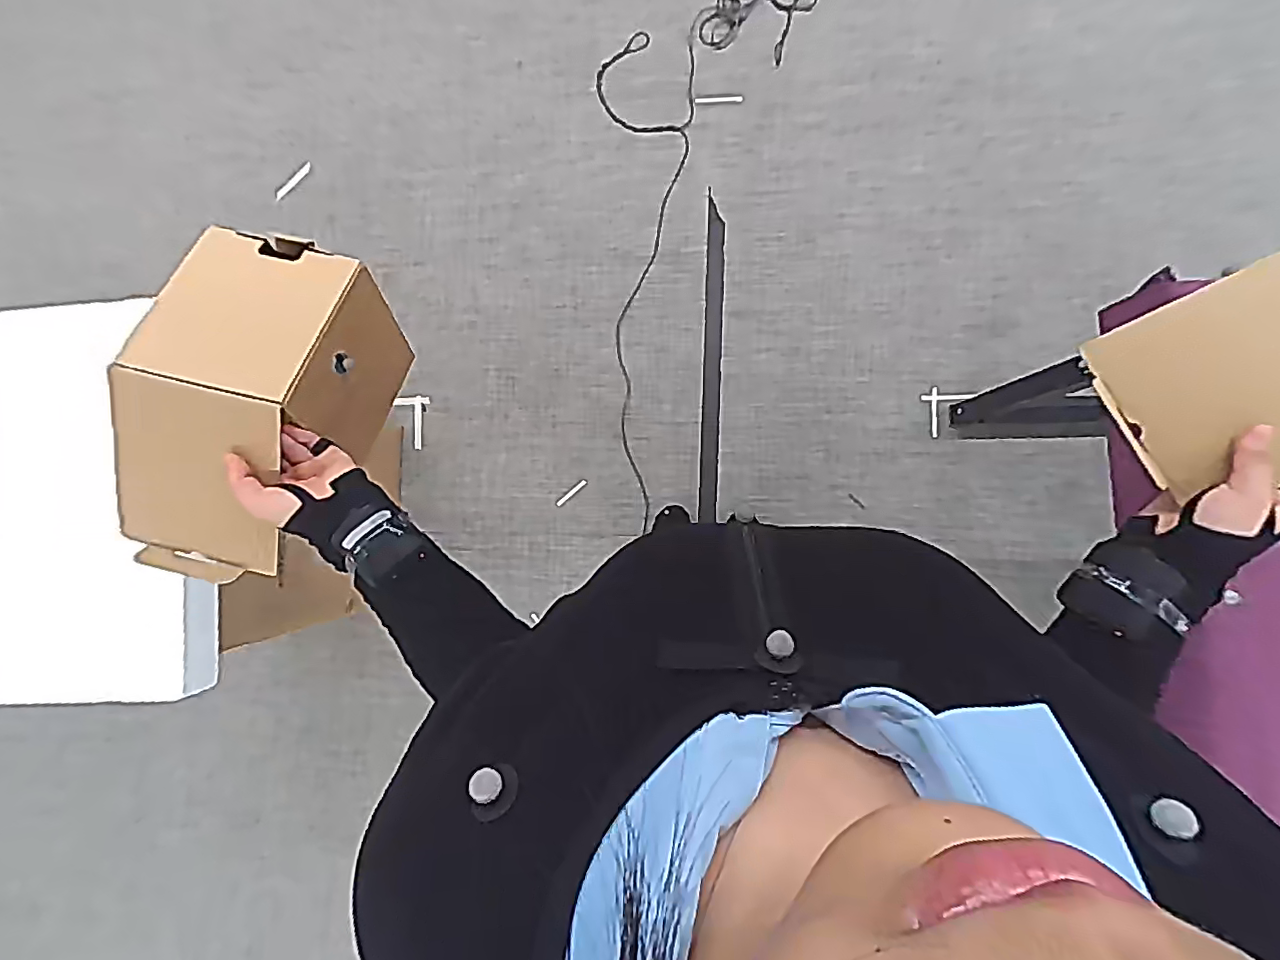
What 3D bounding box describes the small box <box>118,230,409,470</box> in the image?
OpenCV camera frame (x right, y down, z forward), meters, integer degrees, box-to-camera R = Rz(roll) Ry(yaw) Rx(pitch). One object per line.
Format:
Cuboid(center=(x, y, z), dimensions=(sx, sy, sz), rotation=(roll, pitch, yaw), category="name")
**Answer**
Cuboid(center=(-0.381, -0.131, 0.592), dimensions=(0.168, 0.176, 0.179), rotation=(13, 67, 2), category="small box")
